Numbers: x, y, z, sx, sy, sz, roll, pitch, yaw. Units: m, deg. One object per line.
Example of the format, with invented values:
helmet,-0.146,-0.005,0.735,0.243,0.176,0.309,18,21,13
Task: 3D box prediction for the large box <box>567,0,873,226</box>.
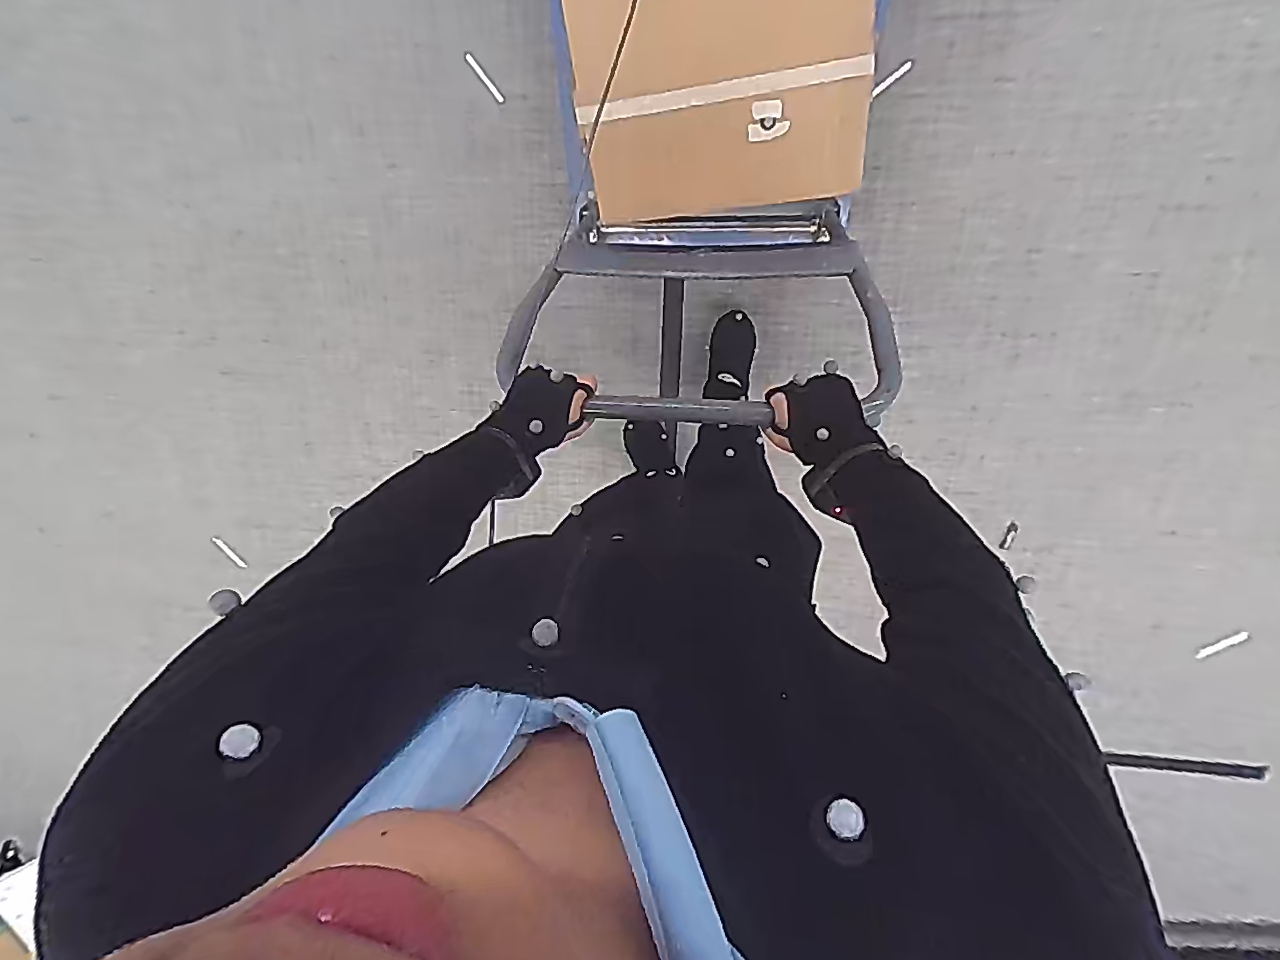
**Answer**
large box,0.133,-0.645,0.890,0.408,0.320,0.320,-3,128,11
